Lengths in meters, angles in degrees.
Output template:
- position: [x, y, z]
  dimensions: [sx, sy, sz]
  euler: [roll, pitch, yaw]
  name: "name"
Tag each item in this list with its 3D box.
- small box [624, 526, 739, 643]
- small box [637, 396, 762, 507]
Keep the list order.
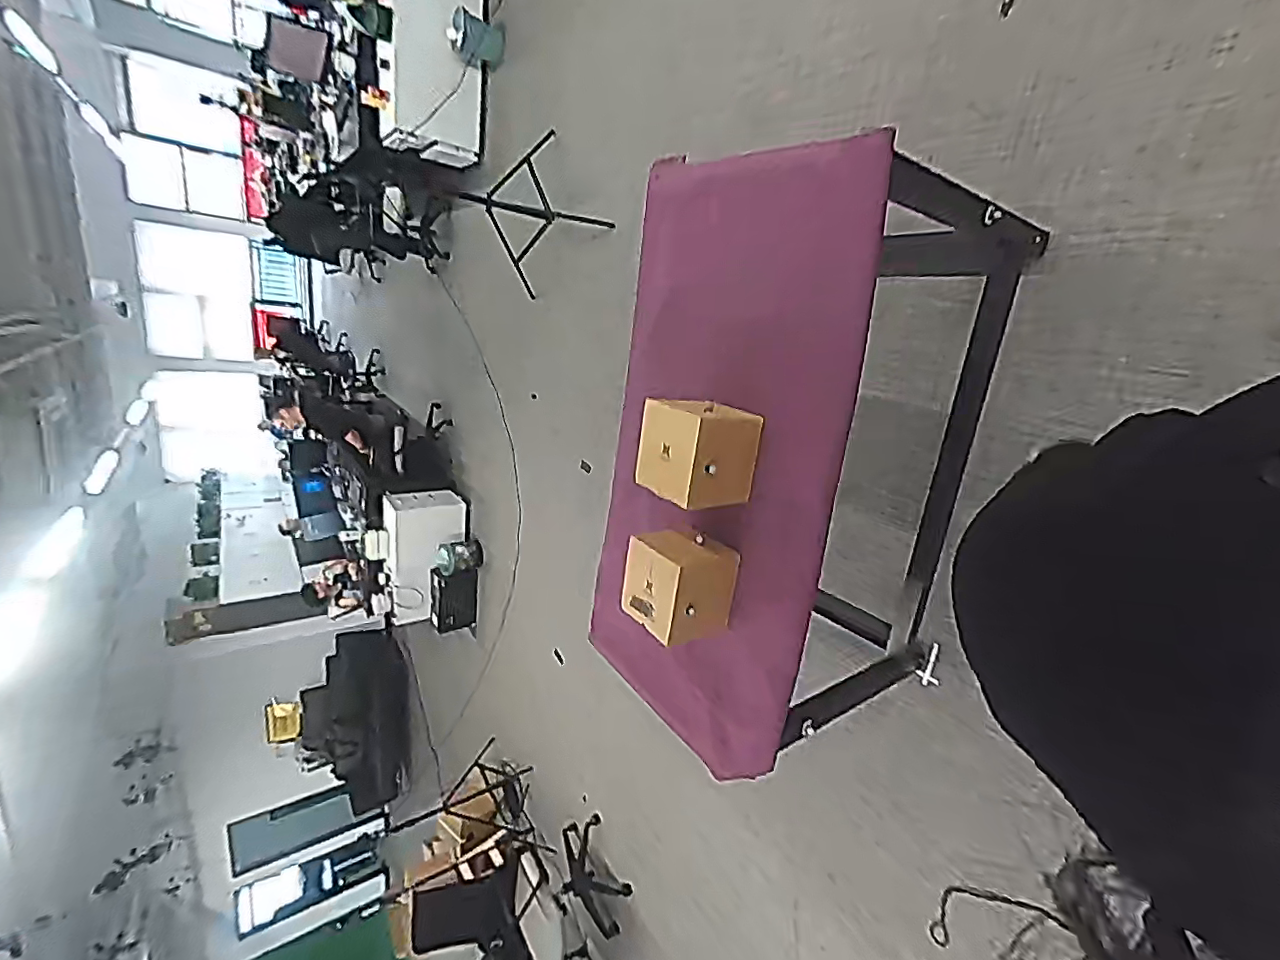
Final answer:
- position: [0.087, 0.211, 1.142]
  dimensions: [0.168, 0.176, 0.179]
  euler: [27, 115, 49]
  name: "small box"
- position: [0.118, -0.063, 1.068]
  dimensions: [0.168, 0.176, 0.179]
  euler: [28, 117, 49]
  name: "small box"
